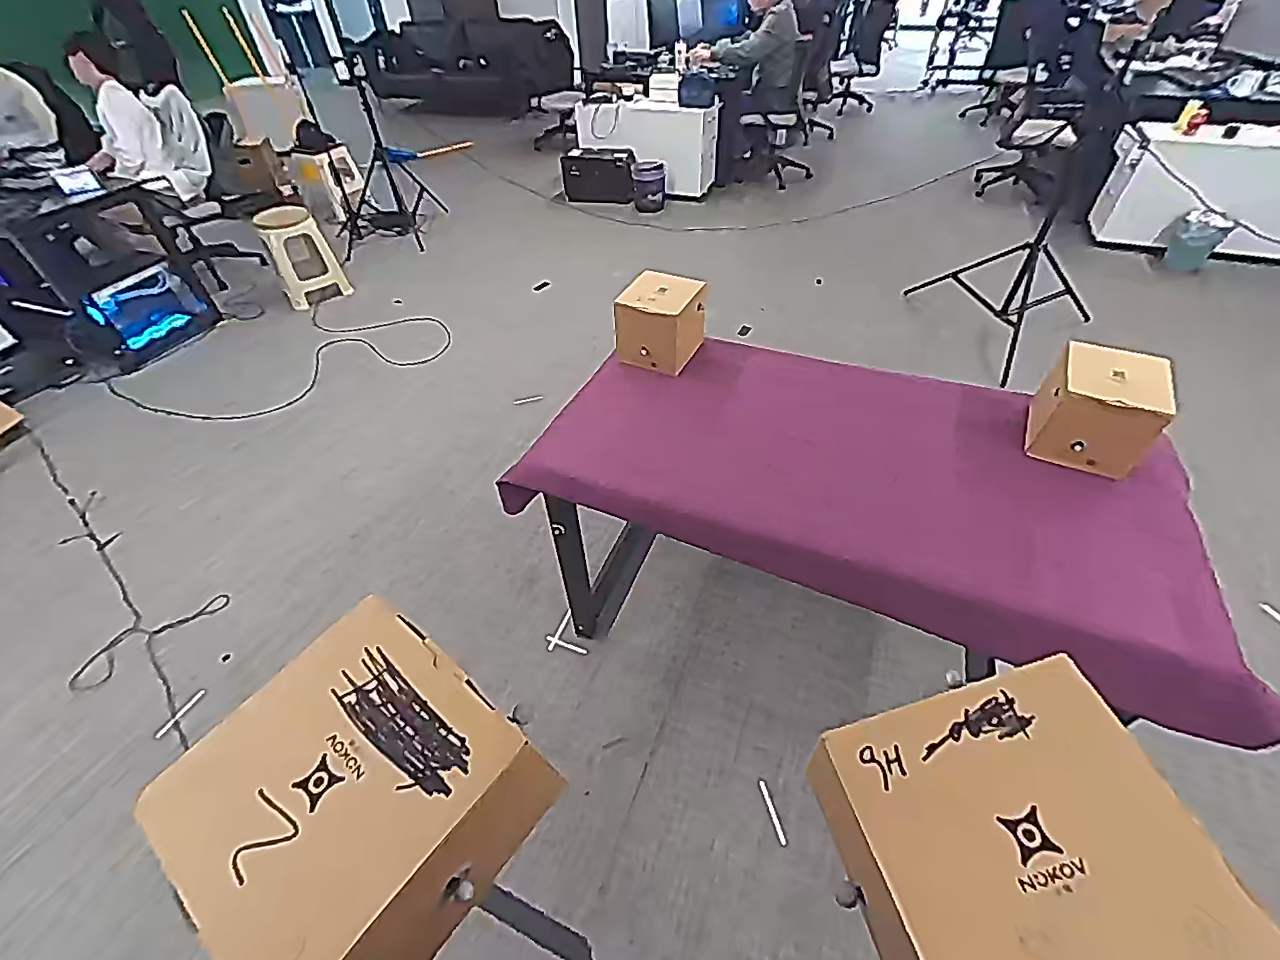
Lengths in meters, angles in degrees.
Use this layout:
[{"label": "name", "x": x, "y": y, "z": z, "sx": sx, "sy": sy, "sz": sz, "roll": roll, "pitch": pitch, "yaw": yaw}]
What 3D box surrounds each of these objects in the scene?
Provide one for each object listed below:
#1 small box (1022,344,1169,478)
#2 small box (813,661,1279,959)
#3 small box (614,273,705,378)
[{"label": "small box", "x": 0.886, "y": -0.136, "z": 1.068, "sx": 0.168, "sy": 0.176, "sz": 0.179, "roll": 19, "pitch": 53, "yaw": 20}, {"label": "small box", "x": 0.232, "y": 0.249, "z": 0.361, "sx": 0.168, "sy": 0.176, "sz": 0.179, "roll": -18, "pitch": 54, "yaw": 0}, {"label": "small box", "x": 0.050, "y": -0.385, "z": 1.347, "sx": 0.168, "sy": 0.176, "sz": 0.179, "roll": 19, "pitch": 51, "yaw": 20}]
